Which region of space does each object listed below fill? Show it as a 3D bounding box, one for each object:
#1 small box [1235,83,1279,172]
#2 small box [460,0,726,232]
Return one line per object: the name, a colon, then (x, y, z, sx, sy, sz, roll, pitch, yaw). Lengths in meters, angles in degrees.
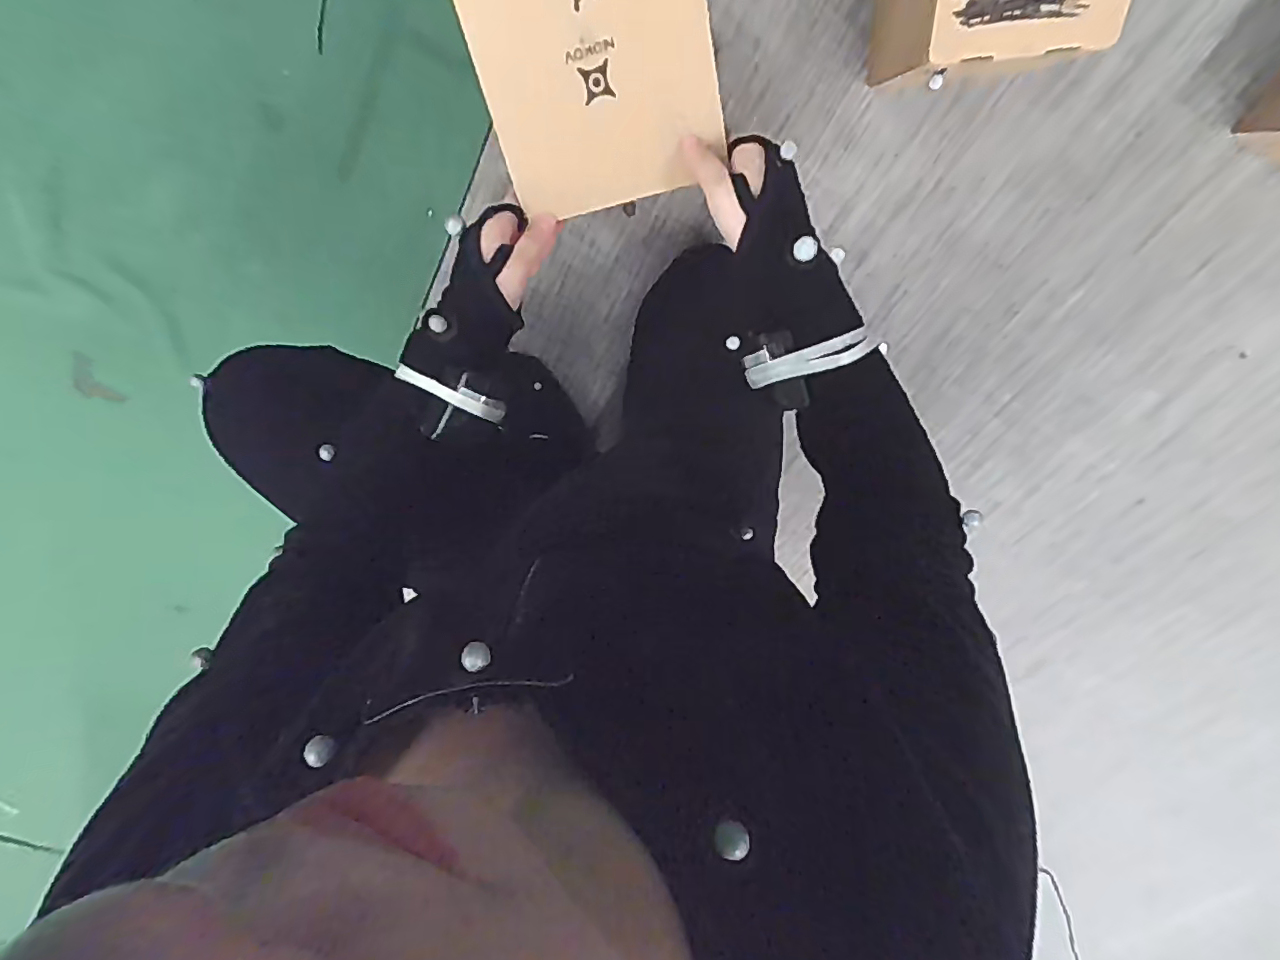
small box: (0.808, -0.400, 0.556, 0.179, 0.176, 0.168, 21, 119, -8)
small box: (-0.025, -0.329, 0.454, 0.168, 0.176, 0.179, -11, 119, 9)
